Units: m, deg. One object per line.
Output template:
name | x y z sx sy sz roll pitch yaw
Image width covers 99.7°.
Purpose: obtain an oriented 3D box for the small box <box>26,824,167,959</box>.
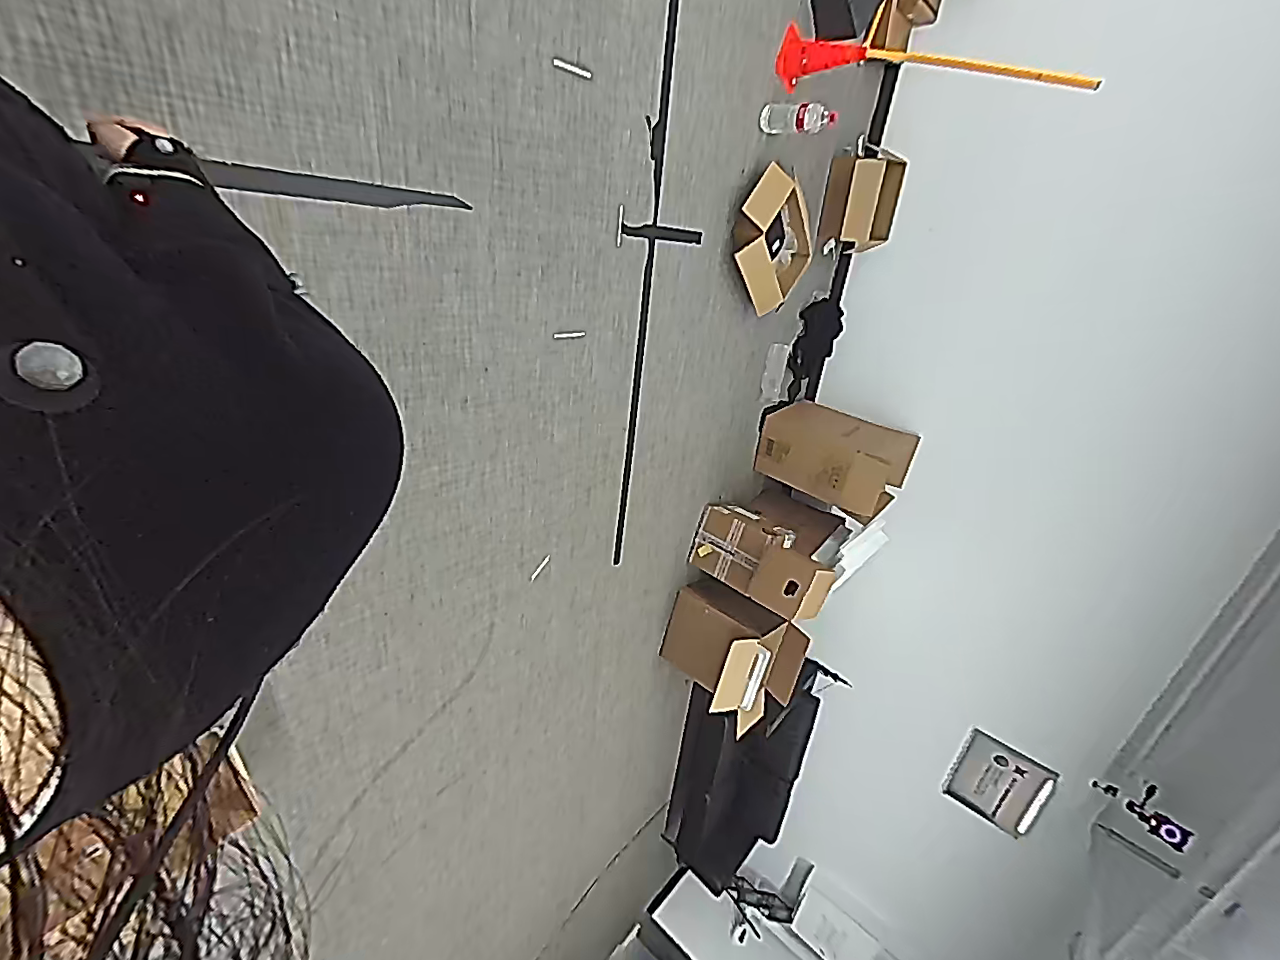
small box | -1.189 0.909 1.187 0.168 0.176 0.179 -27 131 -43
